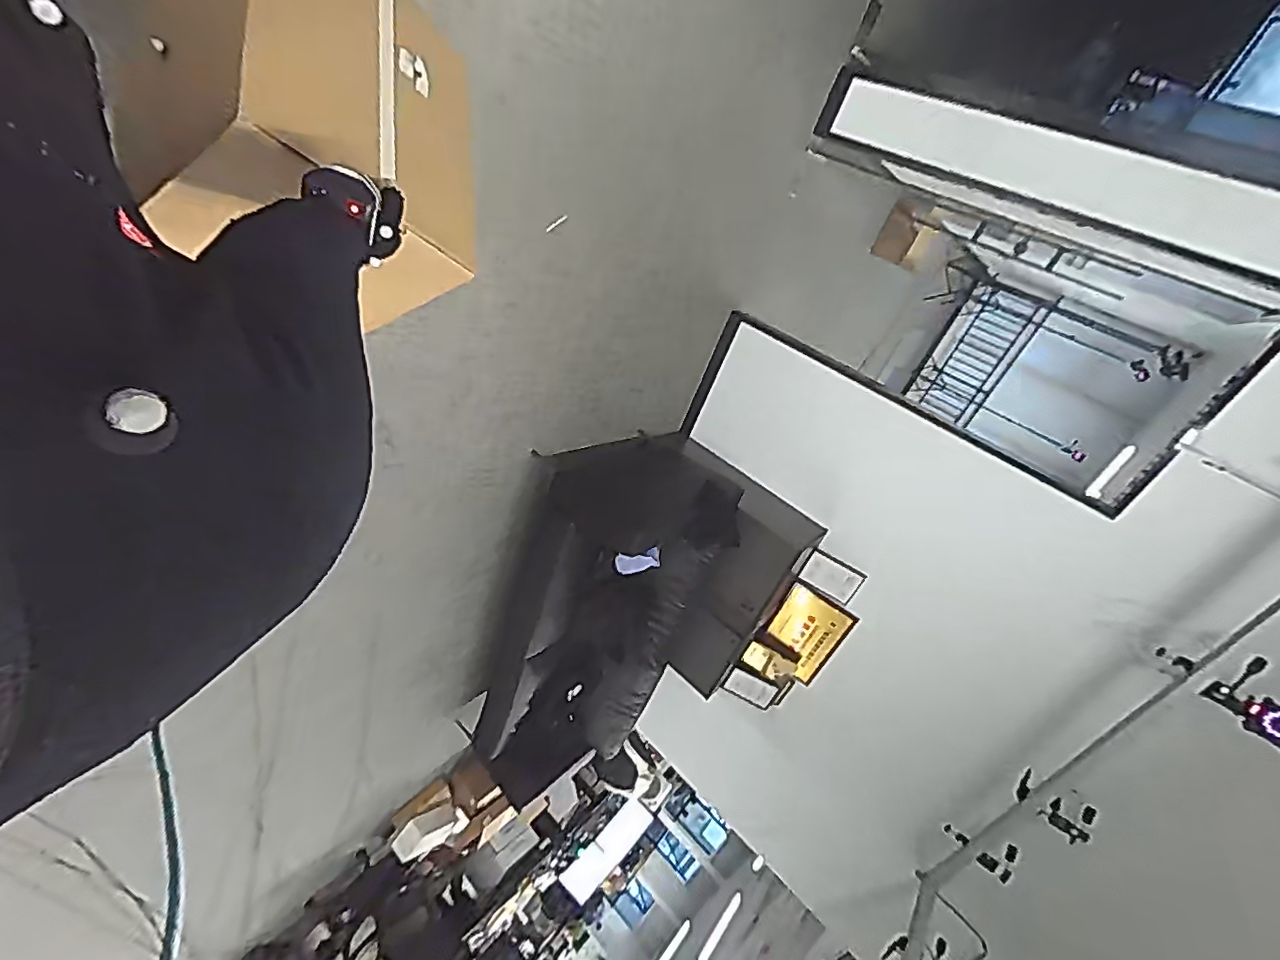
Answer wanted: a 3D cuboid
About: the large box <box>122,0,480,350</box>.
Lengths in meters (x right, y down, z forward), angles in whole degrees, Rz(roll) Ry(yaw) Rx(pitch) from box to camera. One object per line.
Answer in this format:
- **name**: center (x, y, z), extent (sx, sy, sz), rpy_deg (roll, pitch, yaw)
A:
- **large box**: center (-0.465, -0.462, 0.772), extent (0.320, 0.408, 0.320), rpy_deg (-16, 163, 25)
